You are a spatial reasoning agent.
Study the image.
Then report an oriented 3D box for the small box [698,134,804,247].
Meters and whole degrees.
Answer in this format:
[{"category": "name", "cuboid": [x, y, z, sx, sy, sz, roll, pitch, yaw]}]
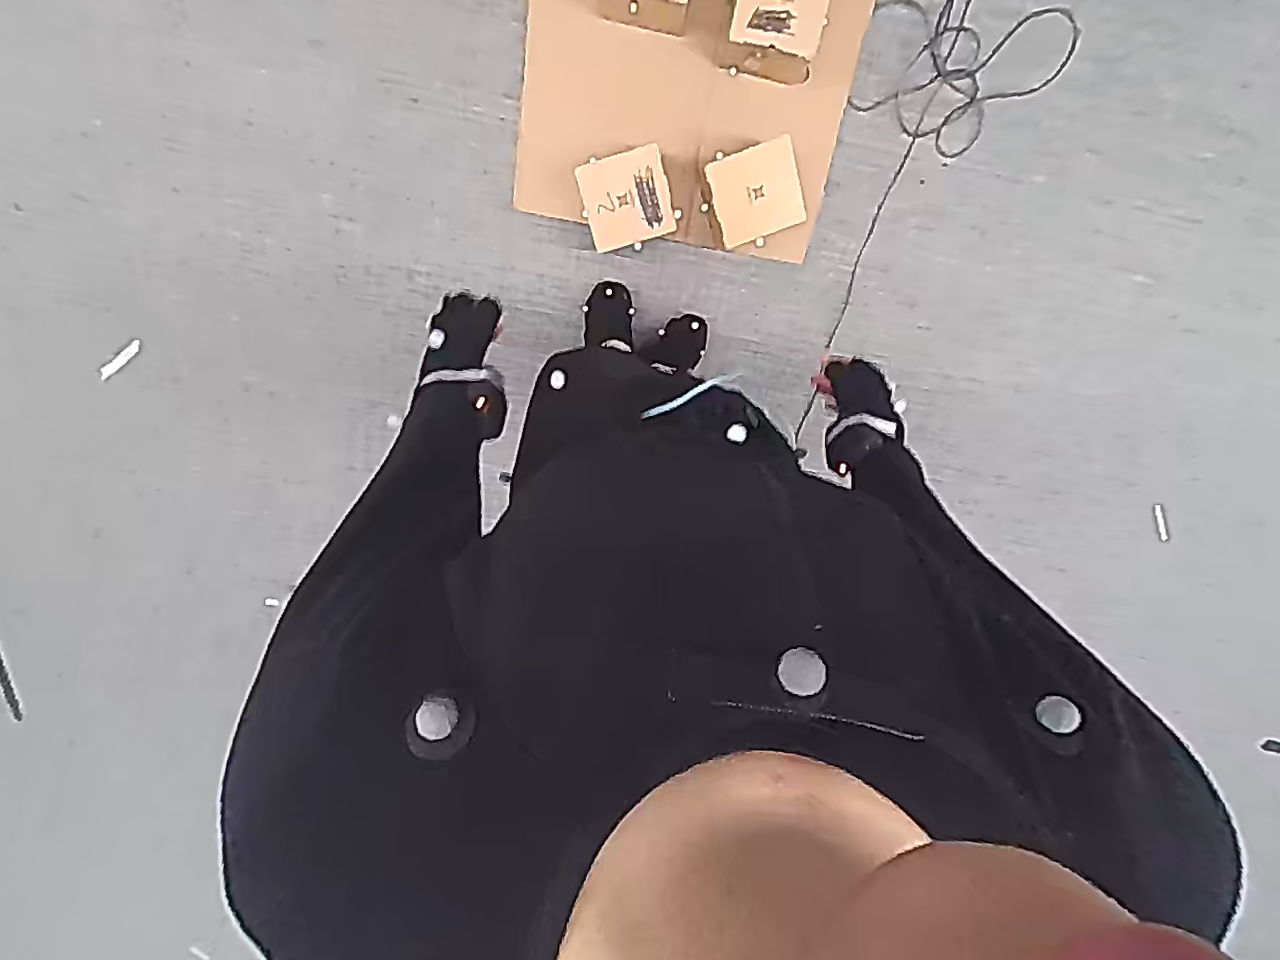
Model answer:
[{"category": "small box", "cuboid": [0.236, -0.621, 1.176, 0.179, 0.176, 0.168, -17, 112, 9]}]
